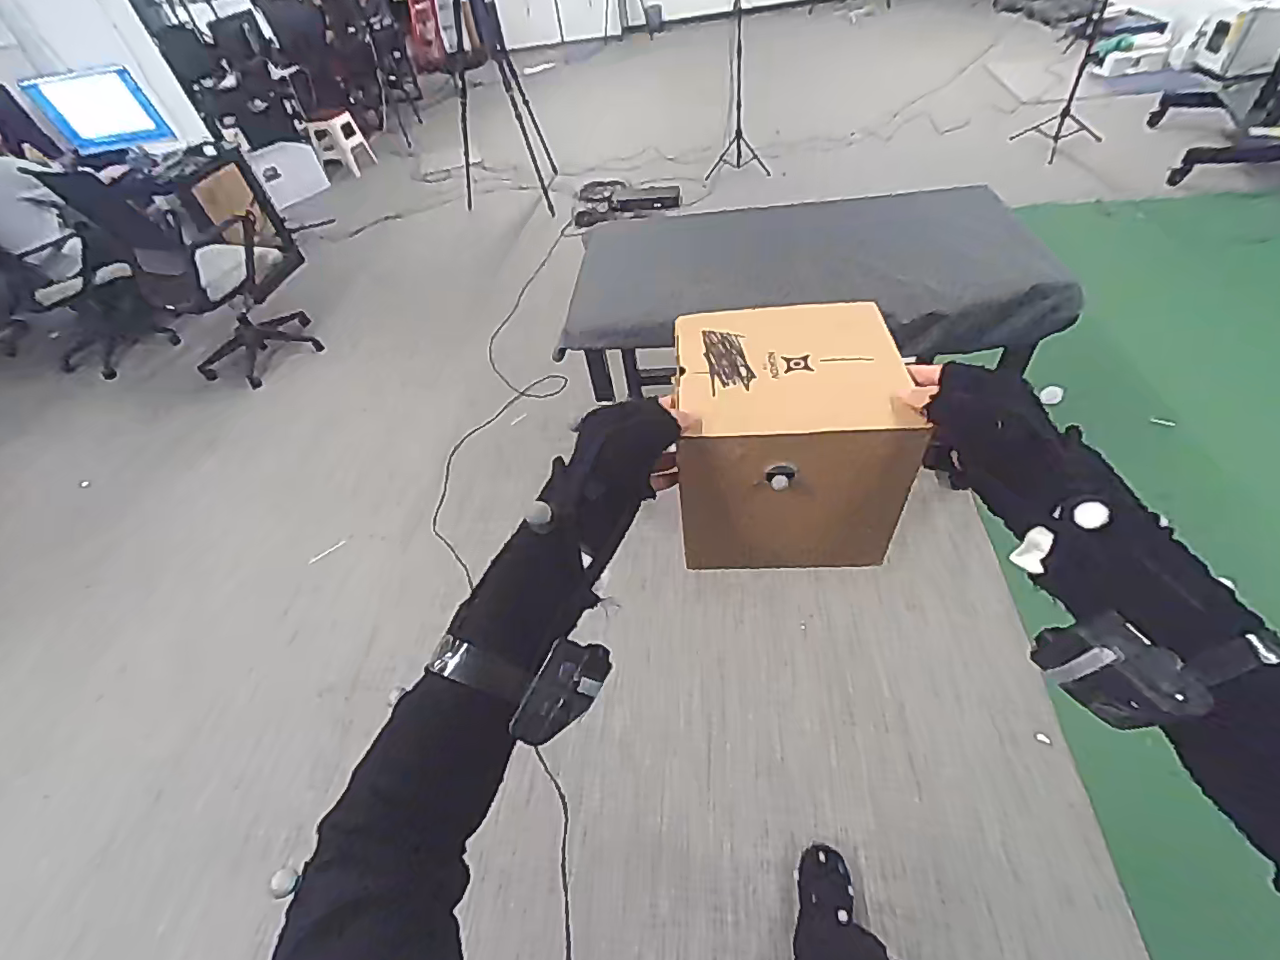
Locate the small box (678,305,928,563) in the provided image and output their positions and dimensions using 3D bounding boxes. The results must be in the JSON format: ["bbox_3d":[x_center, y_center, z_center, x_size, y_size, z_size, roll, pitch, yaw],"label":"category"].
[{"bbox_3d":[0.128,-0.036,0.492,0.179,0.176,0.168,-2,47,6],"label":"small box"}]
